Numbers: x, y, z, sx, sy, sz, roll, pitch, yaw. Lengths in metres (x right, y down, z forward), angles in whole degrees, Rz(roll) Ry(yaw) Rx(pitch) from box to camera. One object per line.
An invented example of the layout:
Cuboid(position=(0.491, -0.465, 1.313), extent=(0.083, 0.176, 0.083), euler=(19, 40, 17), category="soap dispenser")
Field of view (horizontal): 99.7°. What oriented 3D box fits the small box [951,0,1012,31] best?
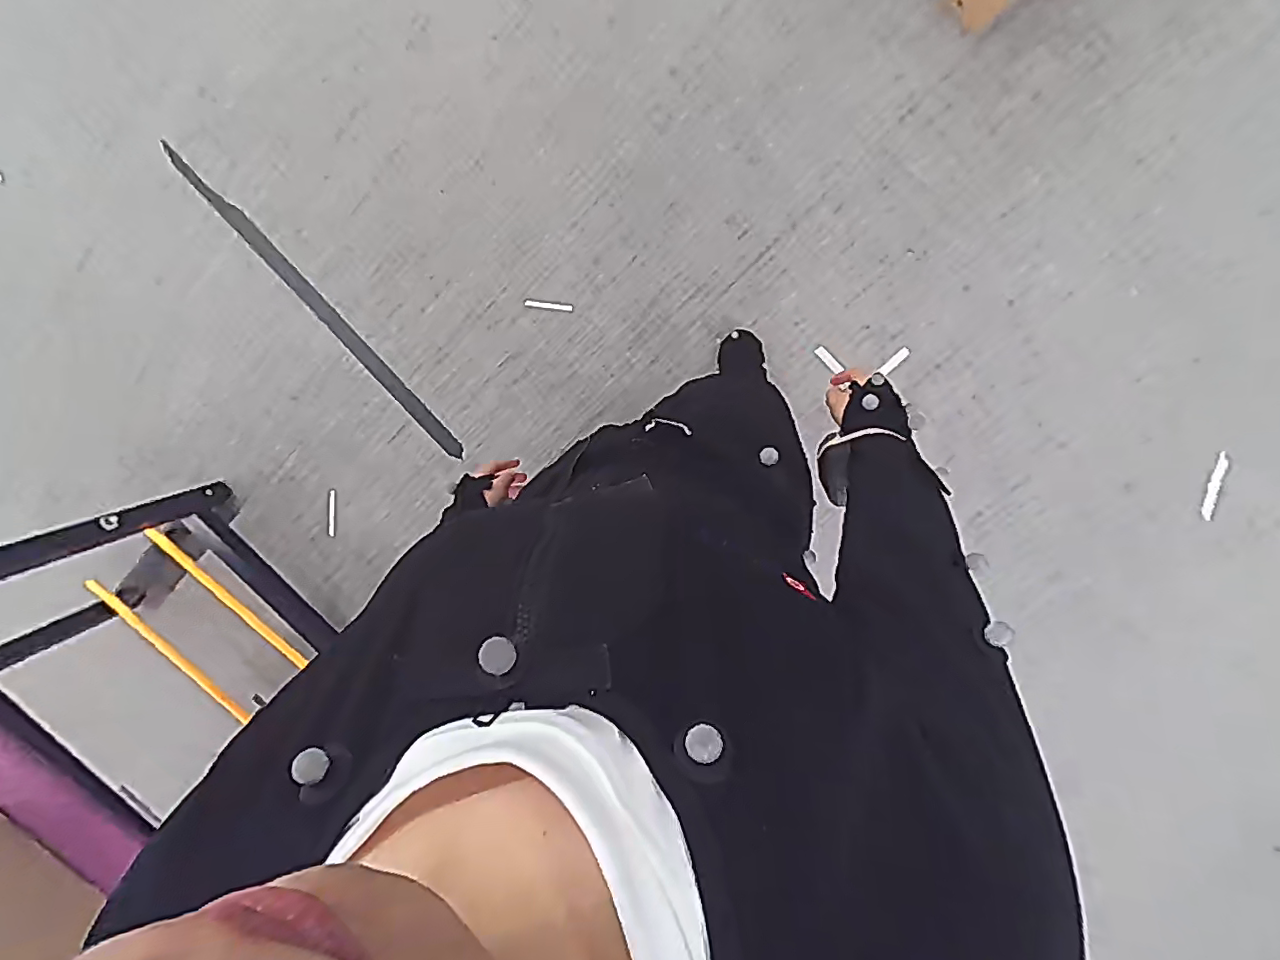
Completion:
Cuboid(position=(0.663, -0.980, 0.974), extent=(0.179, 0.176, 0.168), euler=(-40, 96, 14), category="small box")
